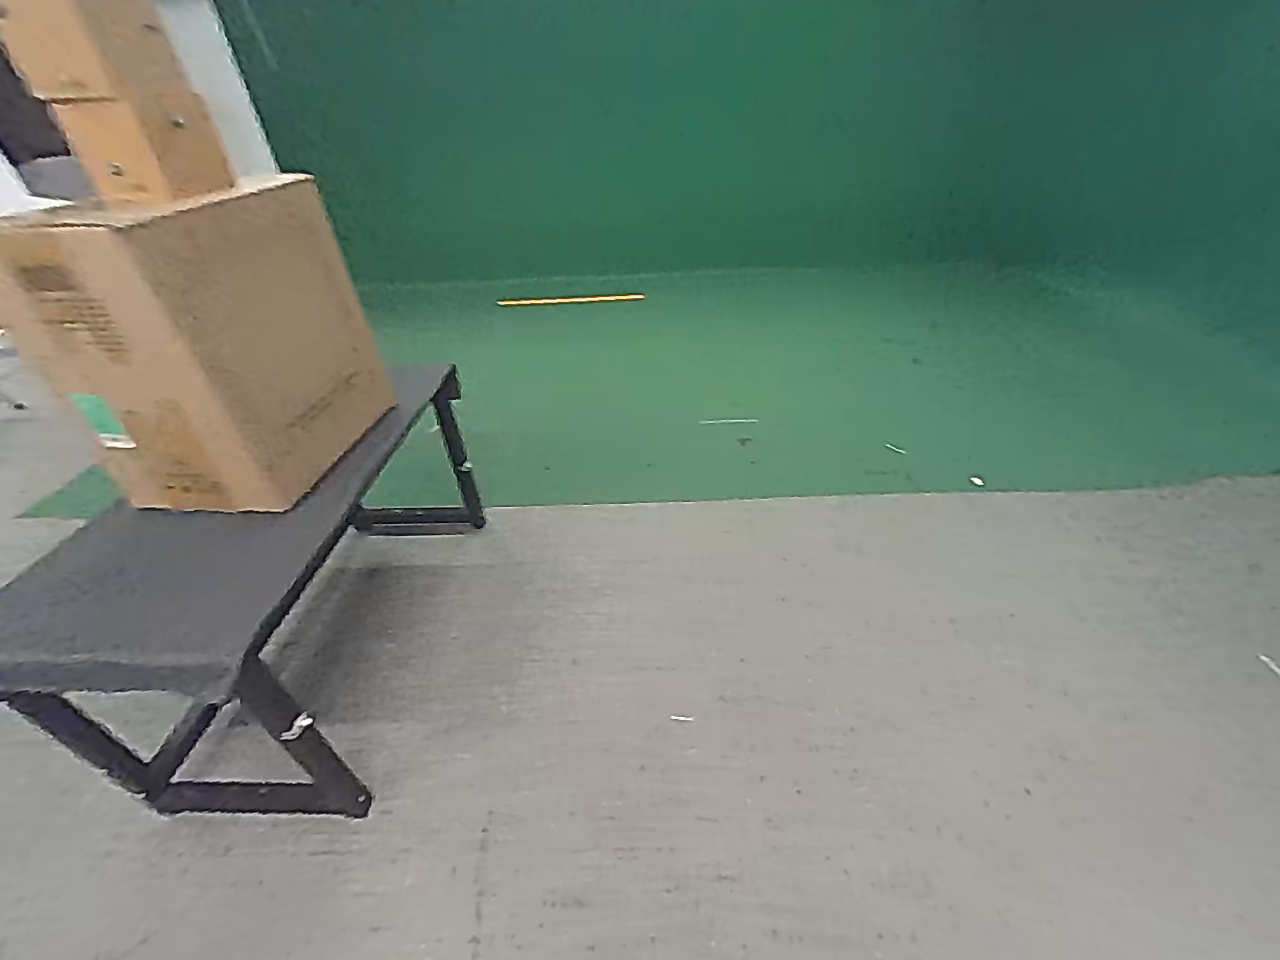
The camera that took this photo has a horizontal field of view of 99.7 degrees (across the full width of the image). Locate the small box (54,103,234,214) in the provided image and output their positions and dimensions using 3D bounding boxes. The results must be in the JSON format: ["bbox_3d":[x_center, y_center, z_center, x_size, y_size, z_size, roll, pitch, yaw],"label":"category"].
[{"bbox_3d":[-0.952,-0.637,1.065,0.168,0.176,0.179,5,38,7],"label":"small box"}]
